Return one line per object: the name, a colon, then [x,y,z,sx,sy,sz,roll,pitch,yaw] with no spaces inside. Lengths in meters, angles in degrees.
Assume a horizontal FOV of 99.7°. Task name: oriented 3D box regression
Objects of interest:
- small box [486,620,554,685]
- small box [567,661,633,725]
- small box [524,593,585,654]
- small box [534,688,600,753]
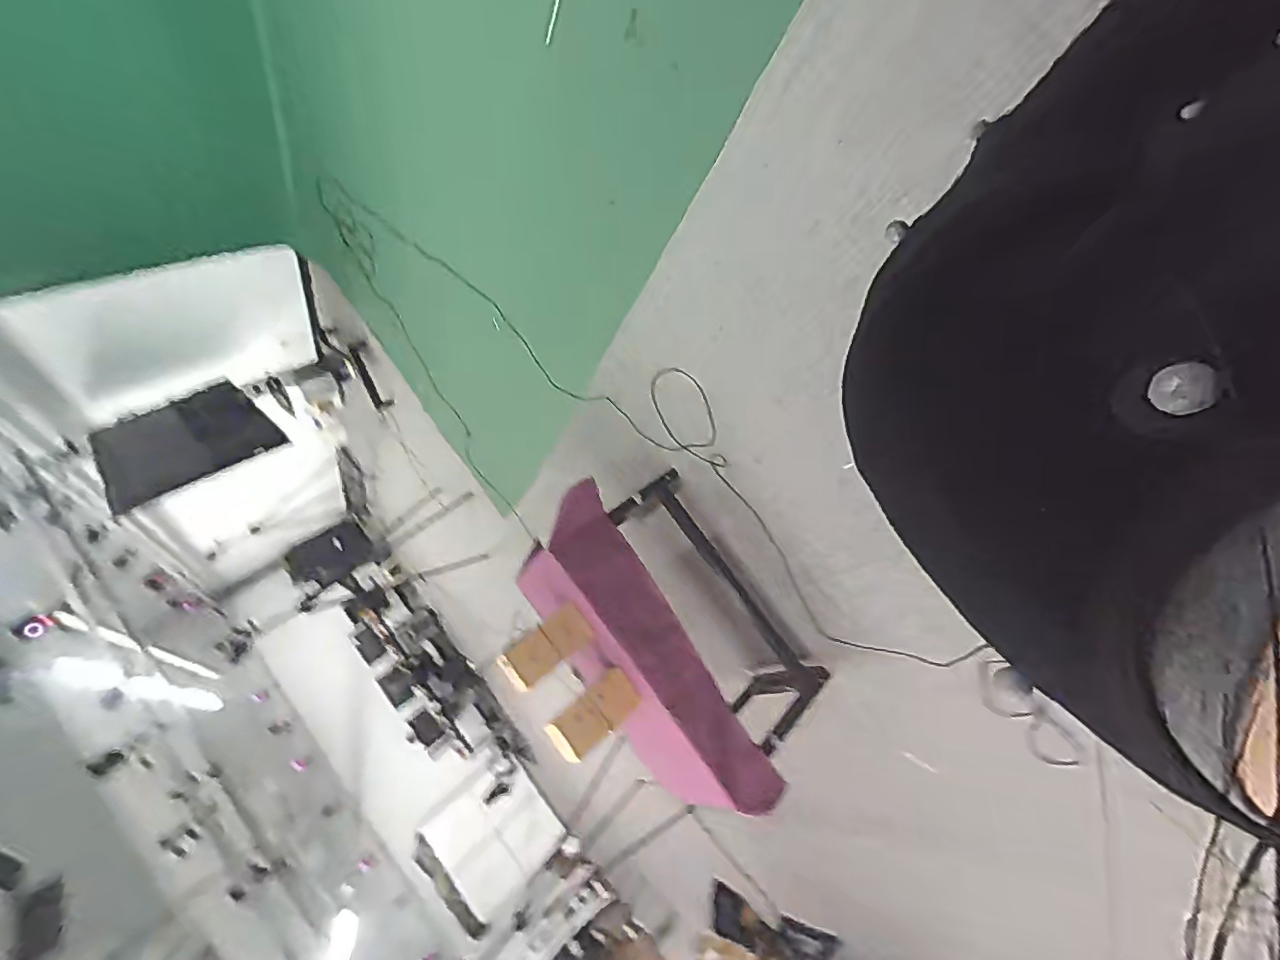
small box: [-0.464,0.662,2.089,0.179,0.176,0.168,52,147,5]
small box: [-0.158,0.851,2.167,0.179,0.176,0.168,55,147,4]
small box: [-0.351,0.587,2.183,0.179,0.176,0.168,52,146,6]
small box: [-0.276,0.920,2.078,0.168,0.176,0.179,55,148,5]
